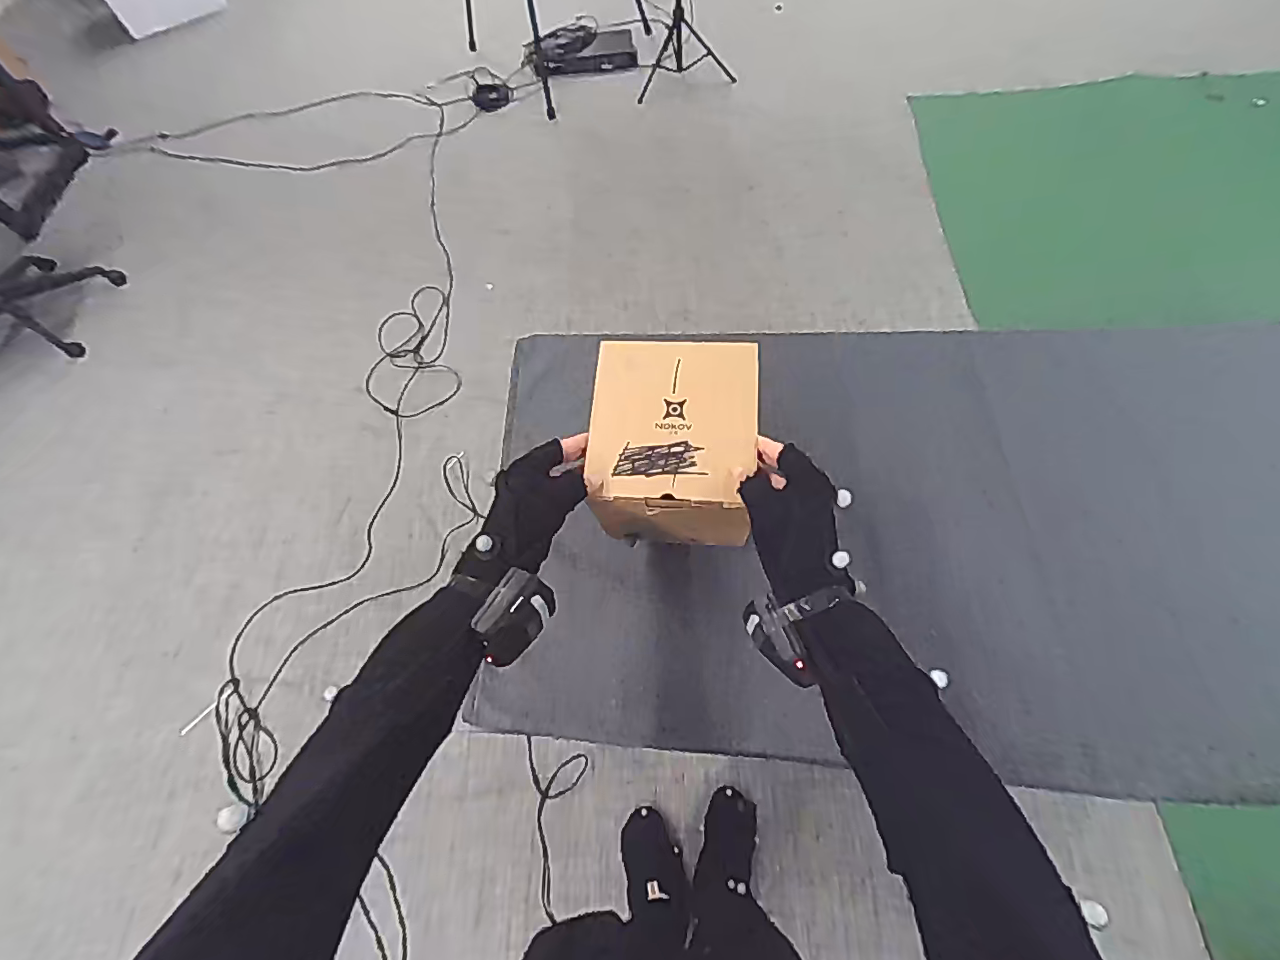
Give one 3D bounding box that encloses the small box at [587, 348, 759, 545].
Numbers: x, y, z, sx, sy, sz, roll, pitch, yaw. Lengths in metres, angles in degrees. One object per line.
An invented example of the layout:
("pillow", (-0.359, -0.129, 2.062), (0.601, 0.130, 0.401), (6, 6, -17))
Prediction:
("small box", (0.045, -0.030, 0.615), (0.168, 0.176, 0.179), (2, 69, 7))
